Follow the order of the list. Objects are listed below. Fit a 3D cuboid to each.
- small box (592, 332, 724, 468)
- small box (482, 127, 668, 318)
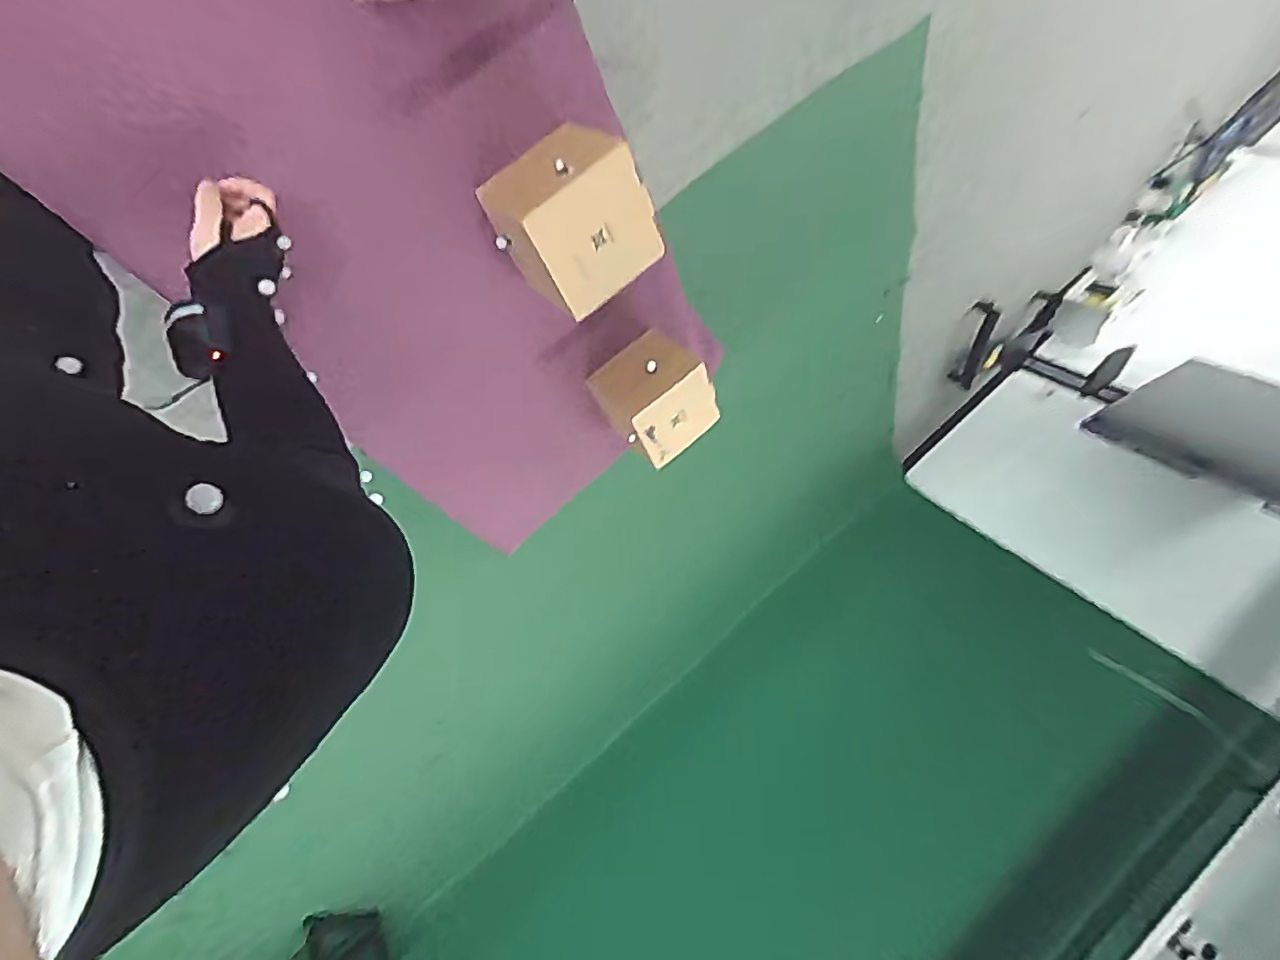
[{"bbox_3d":[0.036,-0.165,1.083,0.179,0.176,0.168,-40,140,-8],"label":"small box"},{"bbox_3d":[-0.093,-0.376,0.780,0.179,0.176,0.168,-39,141,-6],"label":"small box"}]
